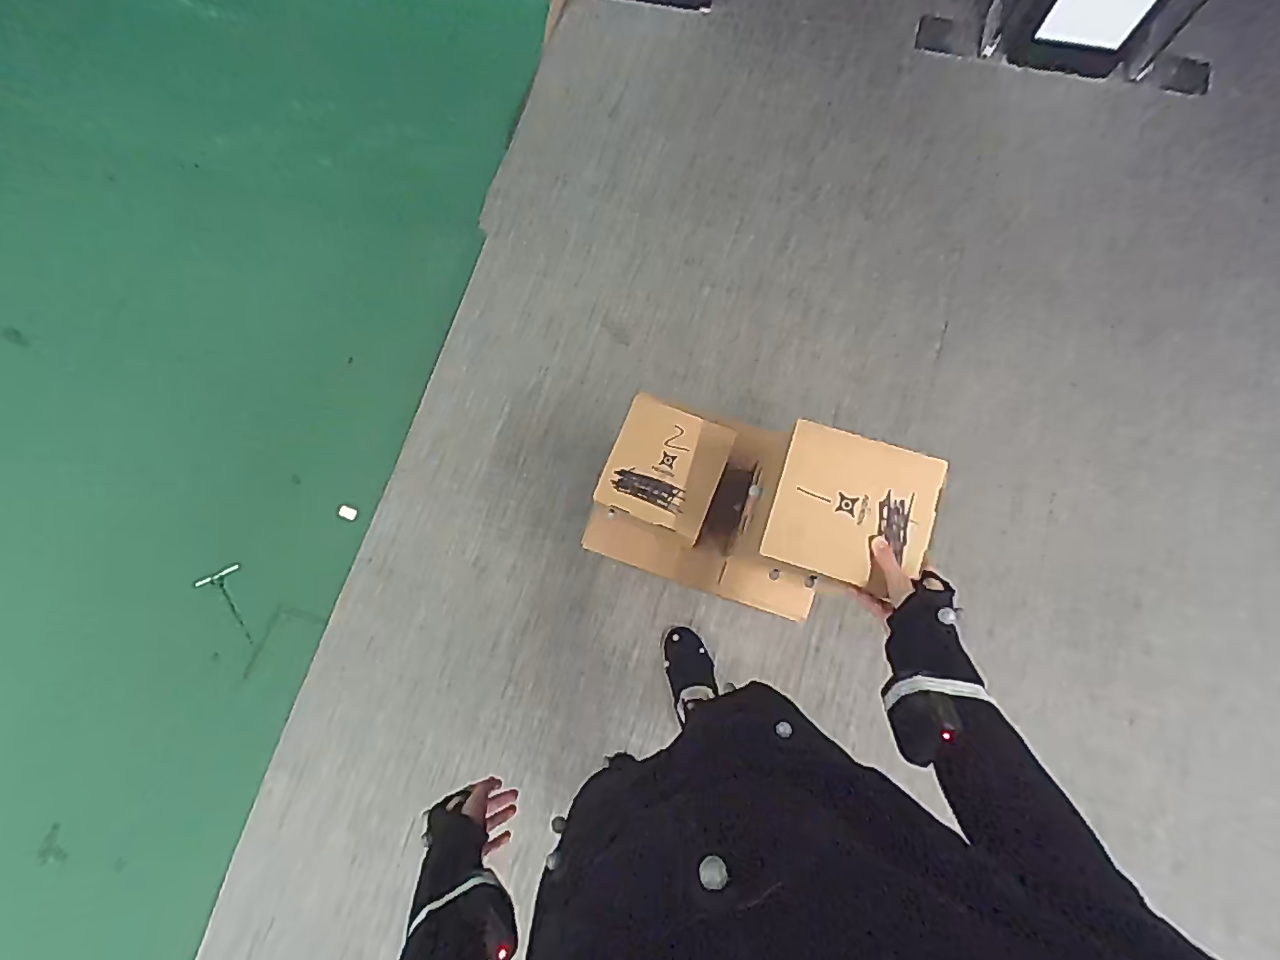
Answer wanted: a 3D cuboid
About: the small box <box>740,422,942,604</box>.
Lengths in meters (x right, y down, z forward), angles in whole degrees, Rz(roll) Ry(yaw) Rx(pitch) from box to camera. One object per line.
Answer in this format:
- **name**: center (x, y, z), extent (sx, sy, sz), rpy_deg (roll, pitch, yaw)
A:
- **small box**: center (0.238, 0.045, 0.682), extent (0.179, 0.176, 0.168), rpy_deg (17, 82, 7)
